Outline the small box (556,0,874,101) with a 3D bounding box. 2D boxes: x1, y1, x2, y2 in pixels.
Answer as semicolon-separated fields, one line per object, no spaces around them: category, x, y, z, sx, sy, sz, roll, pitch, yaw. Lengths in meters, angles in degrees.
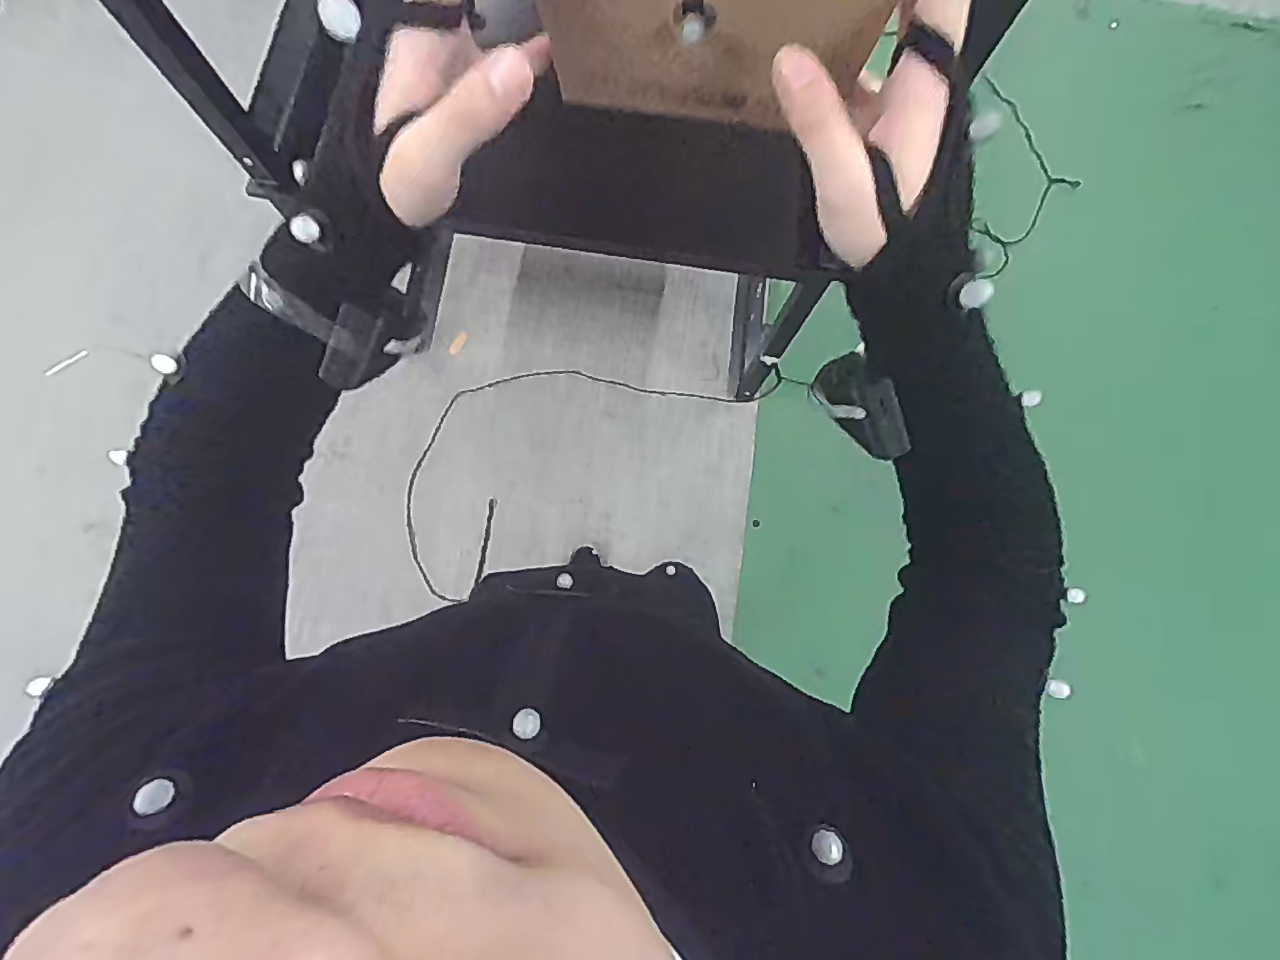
small box;0.044;-0.315;0.243;0.168;0.176;0.179;9;93;1
